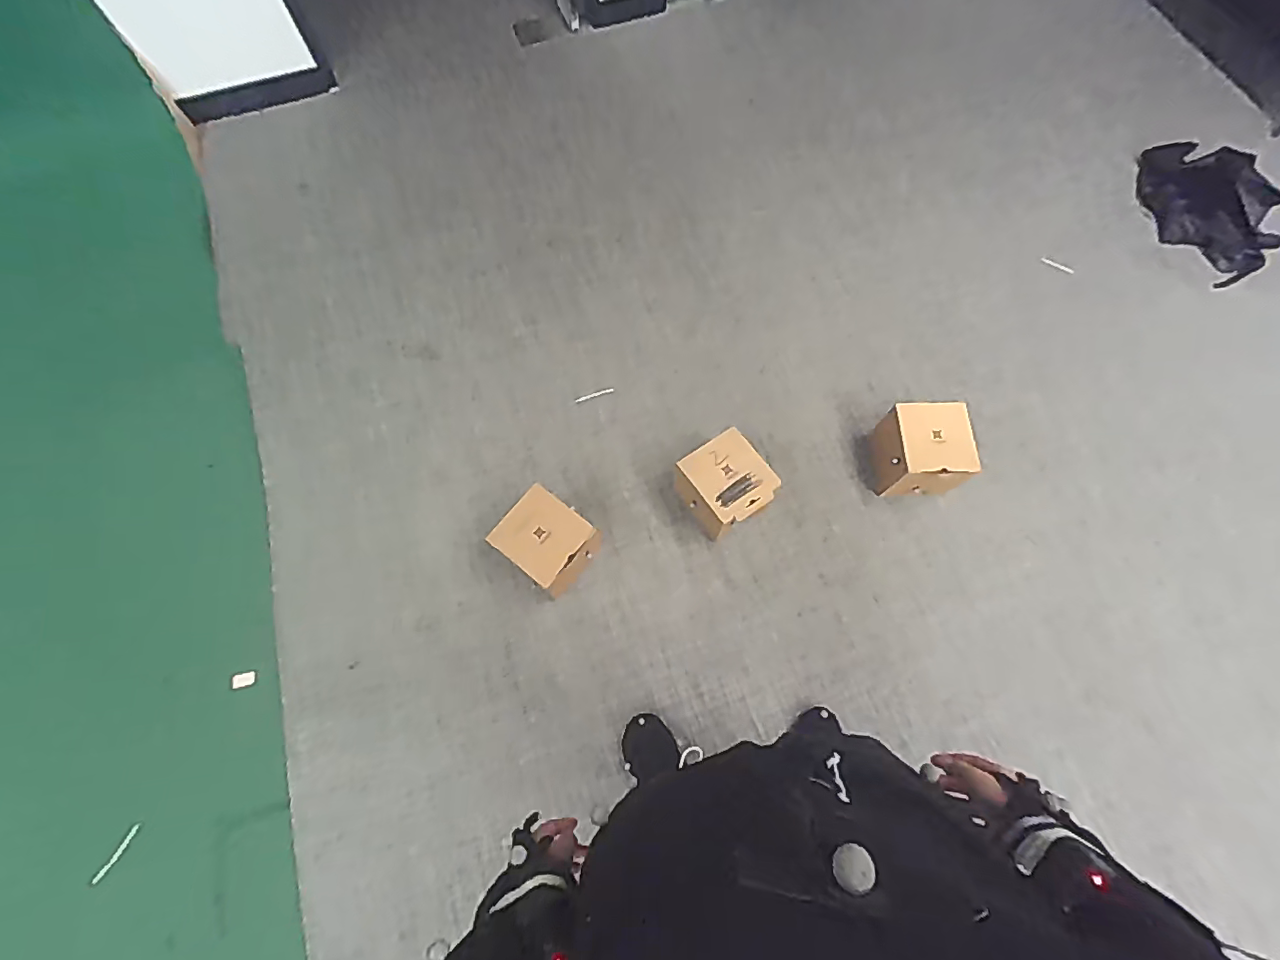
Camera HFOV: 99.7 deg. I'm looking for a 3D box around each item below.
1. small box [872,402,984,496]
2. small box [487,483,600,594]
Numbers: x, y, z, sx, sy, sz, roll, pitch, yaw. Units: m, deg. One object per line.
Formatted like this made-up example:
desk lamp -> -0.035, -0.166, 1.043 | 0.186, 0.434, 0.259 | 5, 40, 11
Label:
small box -> 0.674, -0.070, 1.291 | 0.168, 0.176, 0.179 | 0, 70, 0
small box -> -0.206, 0.140, 1.217 | 0.179, 0.176, 0.168 | 35, 72, 13
